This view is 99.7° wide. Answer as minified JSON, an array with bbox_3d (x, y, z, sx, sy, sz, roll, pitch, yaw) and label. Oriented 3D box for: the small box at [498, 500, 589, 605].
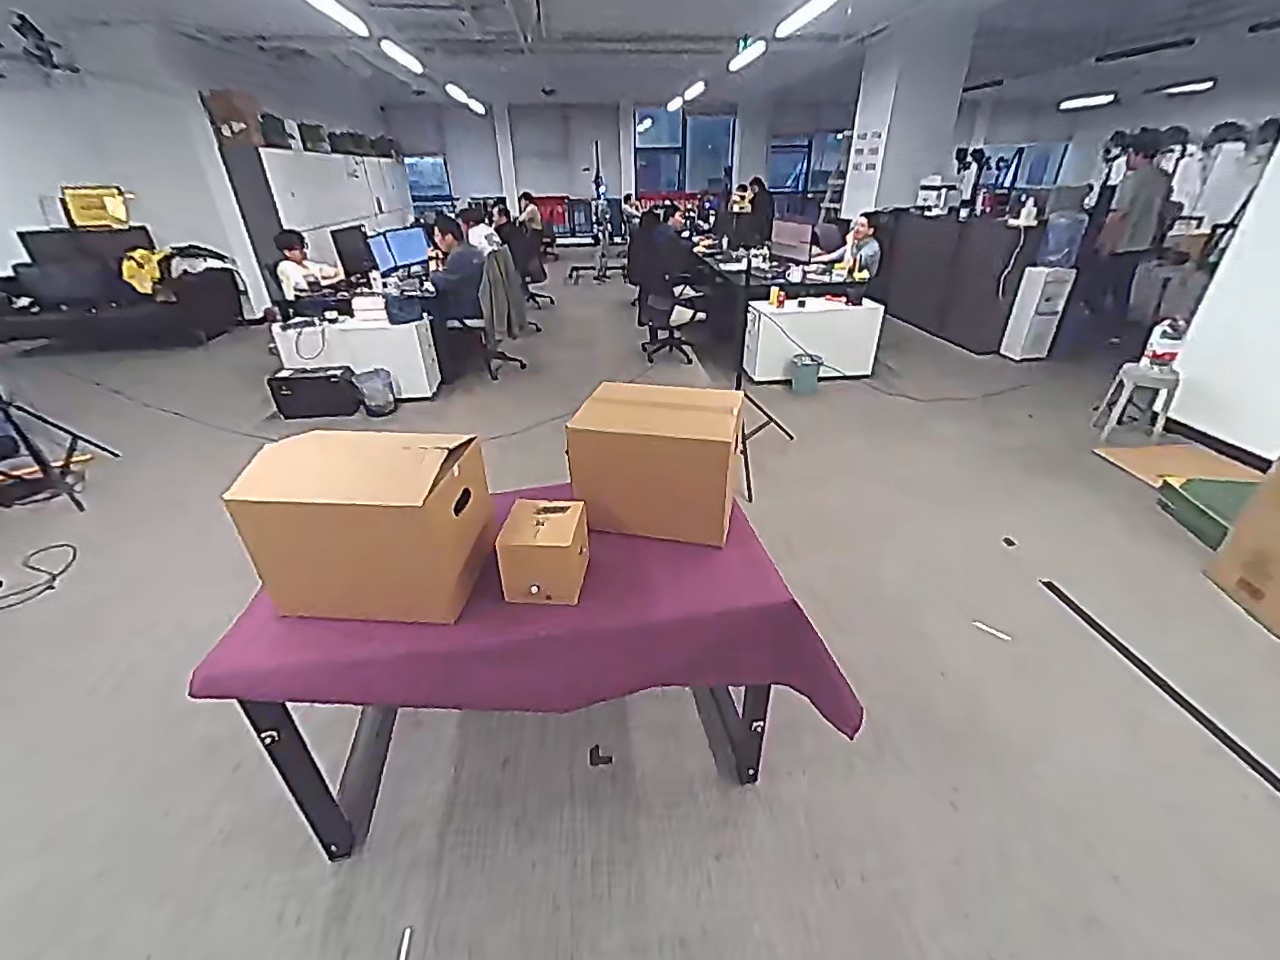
[{"bbox_3d":[-0.213,0.163,1.245,0.168,0.176,0.179,1,30,5],"label":"small box"}]
